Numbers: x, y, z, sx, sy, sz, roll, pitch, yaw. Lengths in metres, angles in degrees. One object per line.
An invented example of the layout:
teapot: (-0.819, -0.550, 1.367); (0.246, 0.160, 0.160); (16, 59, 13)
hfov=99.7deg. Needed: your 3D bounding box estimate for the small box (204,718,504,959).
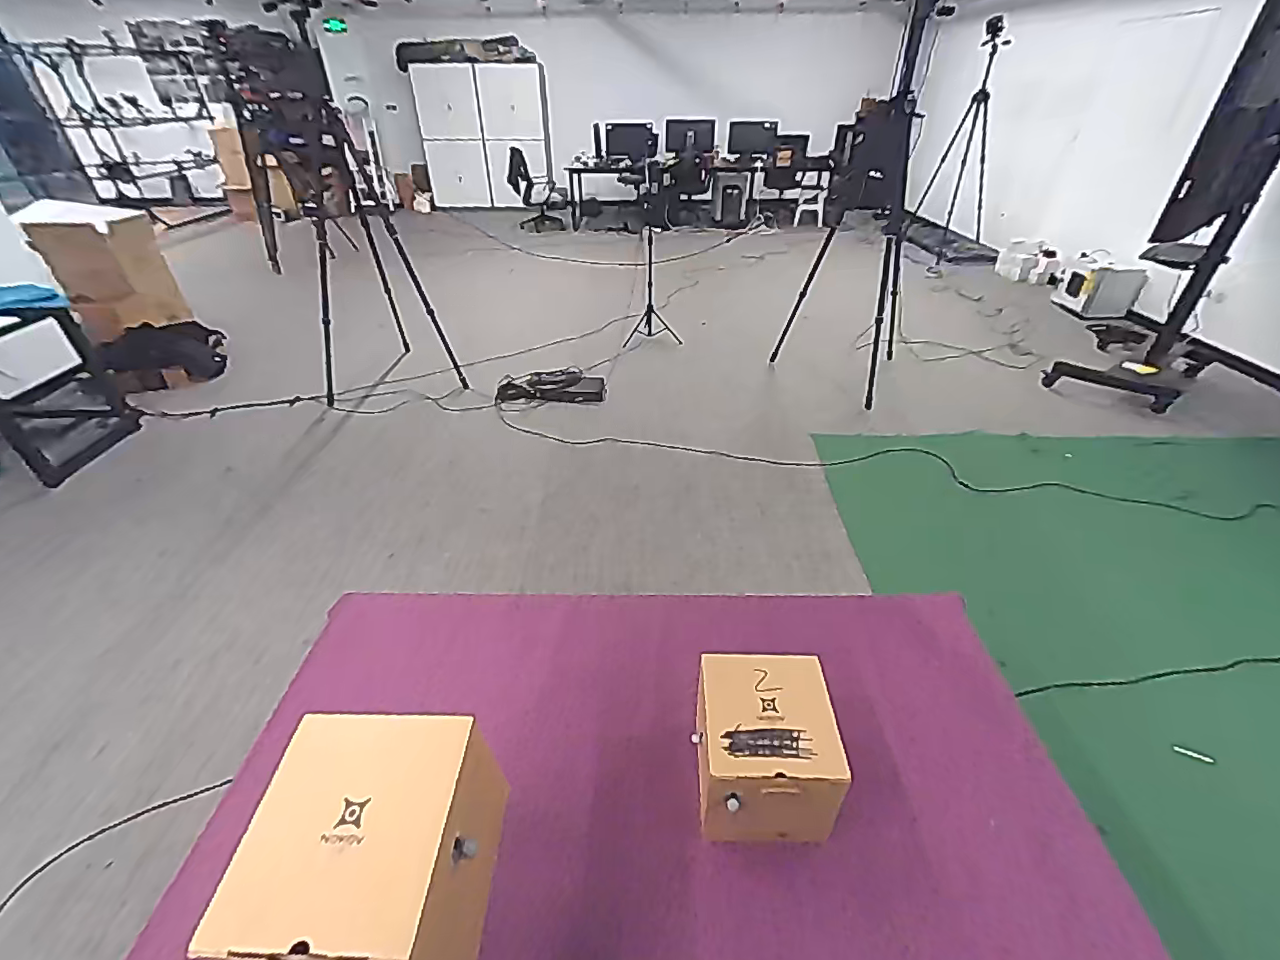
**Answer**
small box: (-0.237, 0.349, 0.509); (0.168, 0.176, 0.179); (-1, 42, 3)
